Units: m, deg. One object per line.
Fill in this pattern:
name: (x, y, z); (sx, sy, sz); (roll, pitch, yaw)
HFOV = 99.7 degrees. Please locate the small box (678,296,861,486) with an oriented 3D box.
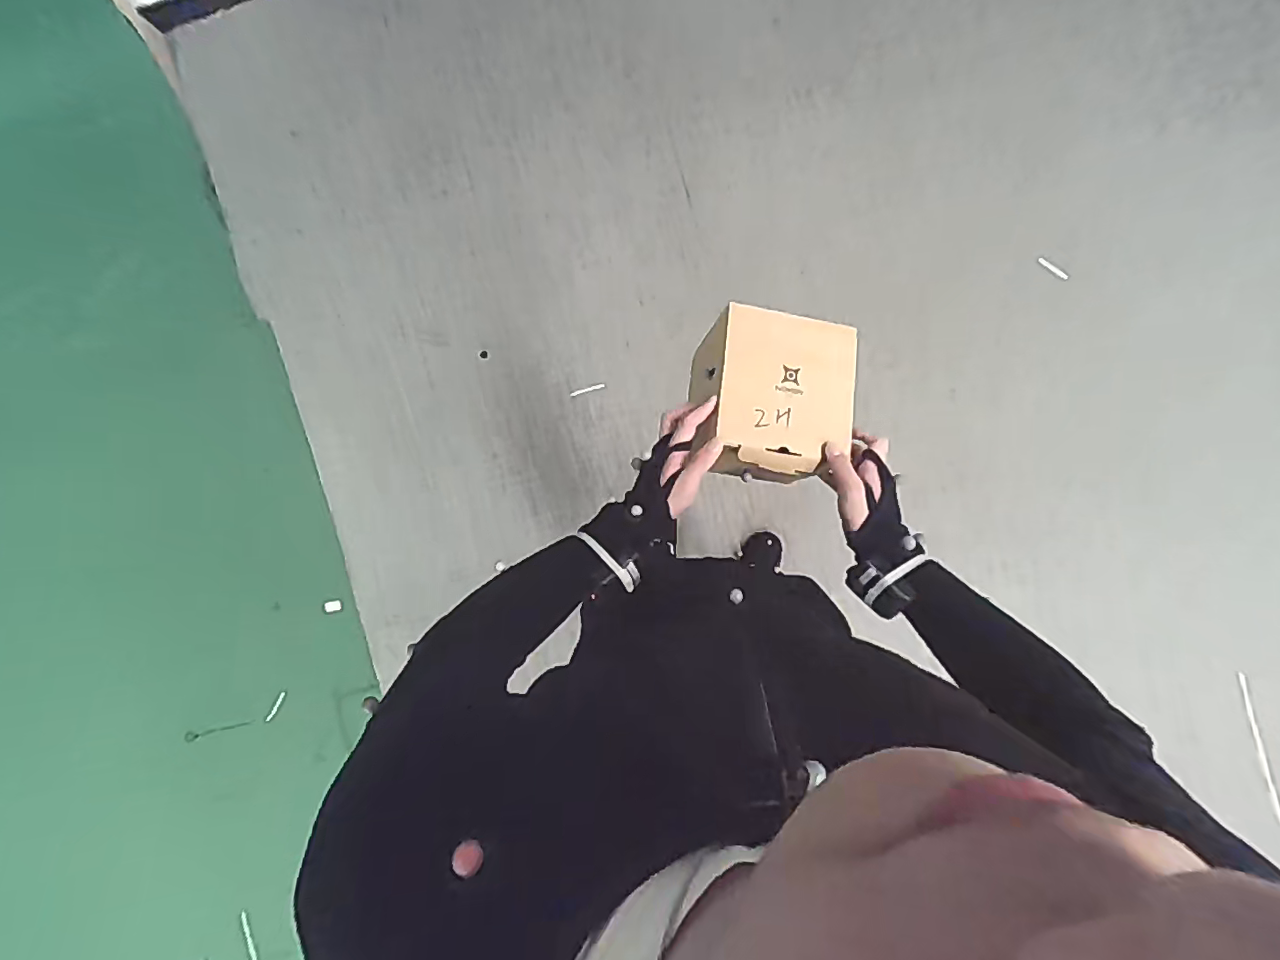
small box: (0.156, -0.102, 0.701); (0.168, 0.176, 0.179); (15, 81, -4)
